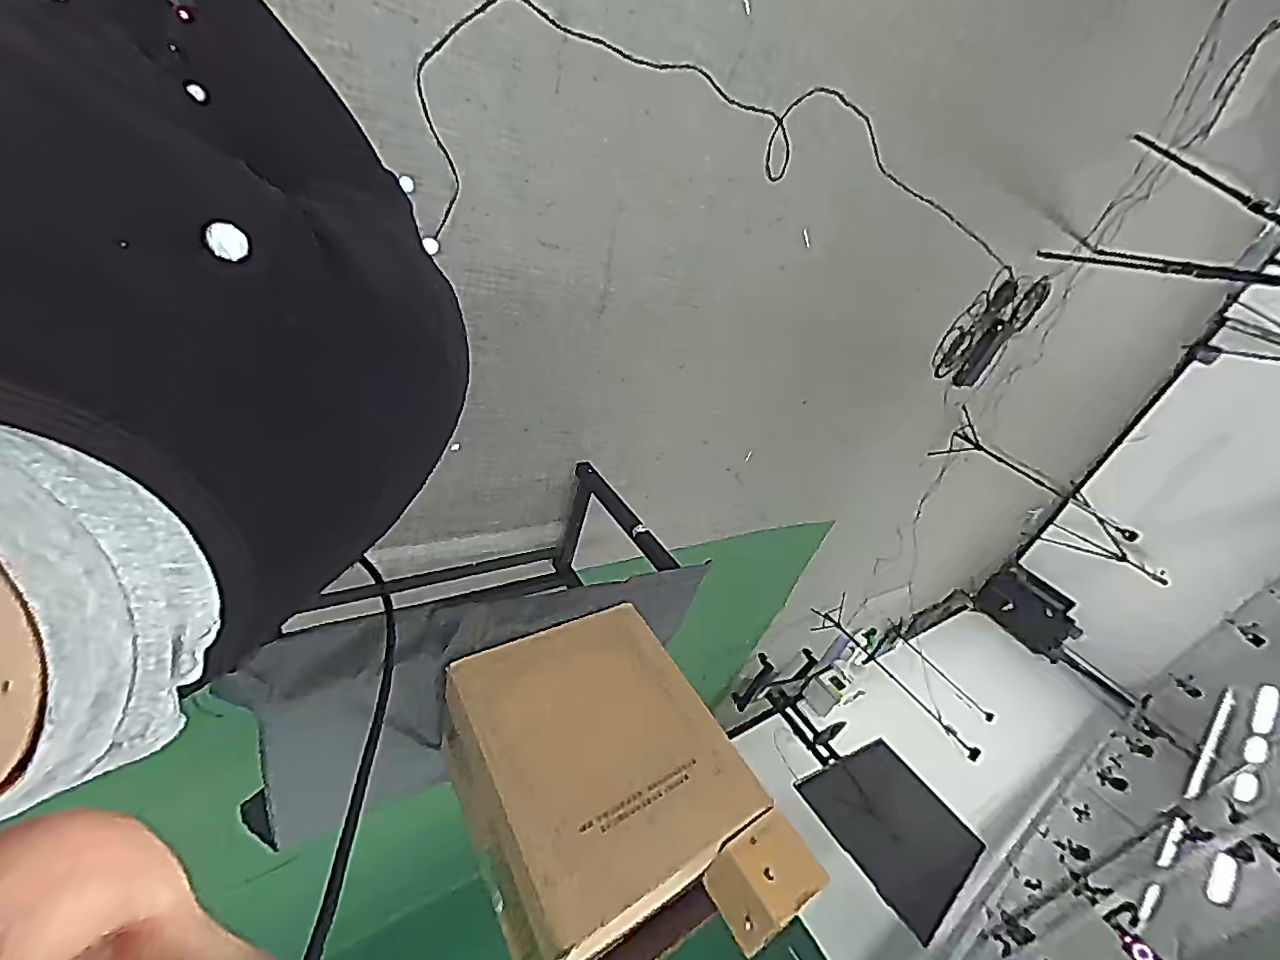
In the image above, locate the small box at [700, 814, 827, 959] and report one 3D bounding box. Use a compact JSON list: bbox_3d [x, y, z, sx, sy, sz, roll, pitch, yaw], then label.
[{"bbox_3d":[0.253,0.851,1.149,0.168,0.176,0.179,-10,132,-35],"label":"small box"}]
